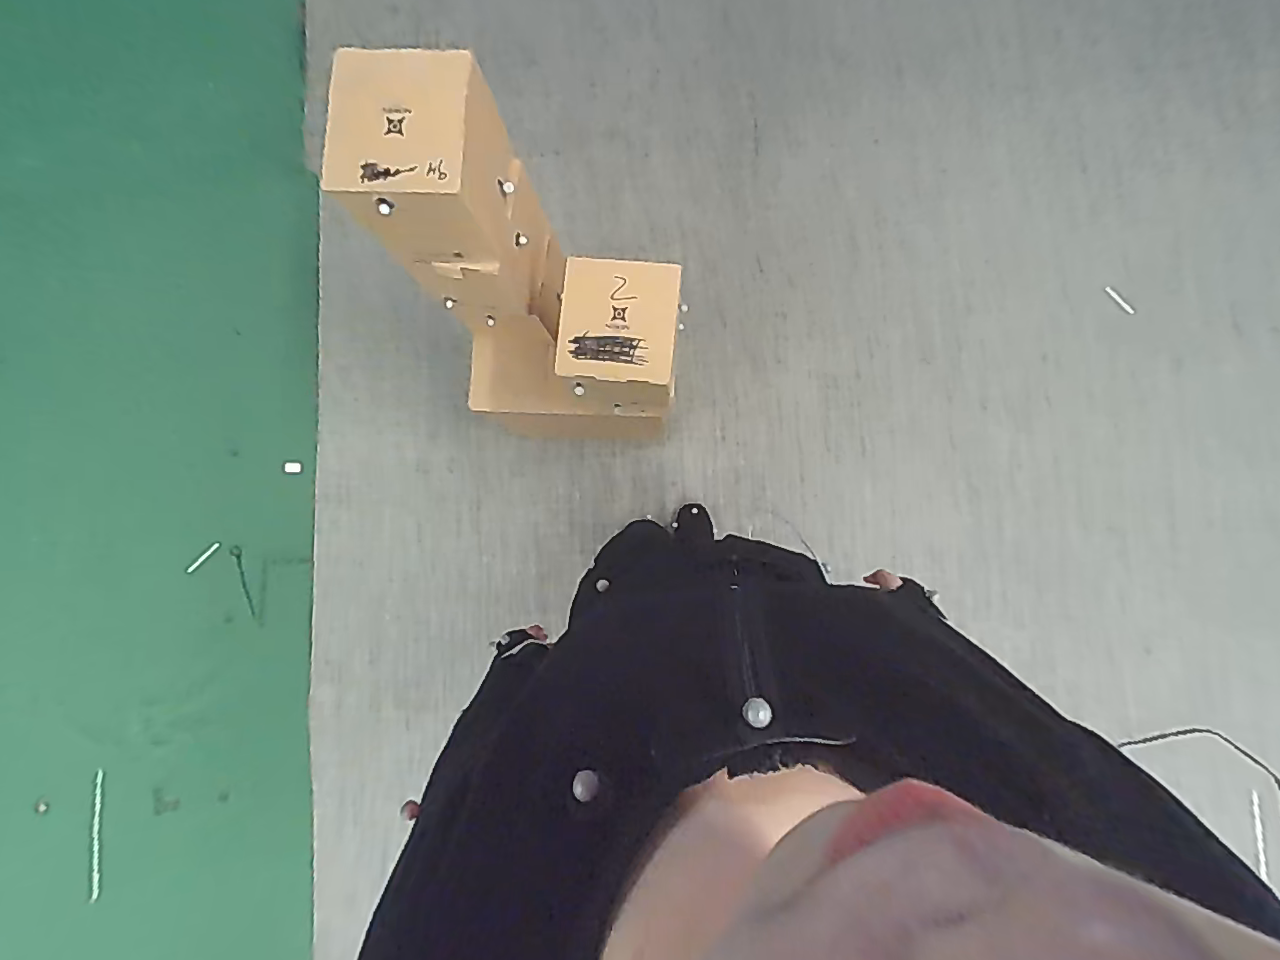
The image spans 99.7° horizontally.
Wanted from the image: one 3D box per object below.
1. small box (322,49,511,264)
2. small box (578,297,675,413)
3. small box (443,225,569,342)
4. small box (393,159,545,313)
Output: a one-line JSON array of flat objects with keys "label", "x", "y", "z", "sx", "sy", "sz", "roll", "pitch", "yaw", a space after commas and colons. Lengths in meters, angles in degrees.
[{"label": "small box", "x": -0.274, "y": -0.408, "z": 0.704, "sx": 0.168, "sy": 0.176, "sz": 0.179, "roll": 4, "pitch": 85, "yaw": 4}, {"label": "small box", "x": -0.018, "y": -0.223, "z": 1.005, "sx": 0.168, "sy": 0.176, "sz": 0.179, "roll": 0, "pitch": 86, "yaw": 3}, {"label": "small box", "x": -0.246, "y": -0.374, "z": 1.030, "sx": 0.179, "sy": 0.176, "sz": 0.168, "roll": 9, "pitch": 87, "yaw": 3}, {"label": "small box", "x": -0.261, "y": -0.389, "z": 0.867, "sx": 0.168, "sy": 0.176, "sz": 0.179, "roll": 11, "pitch": 85, "yaw": 4}]
